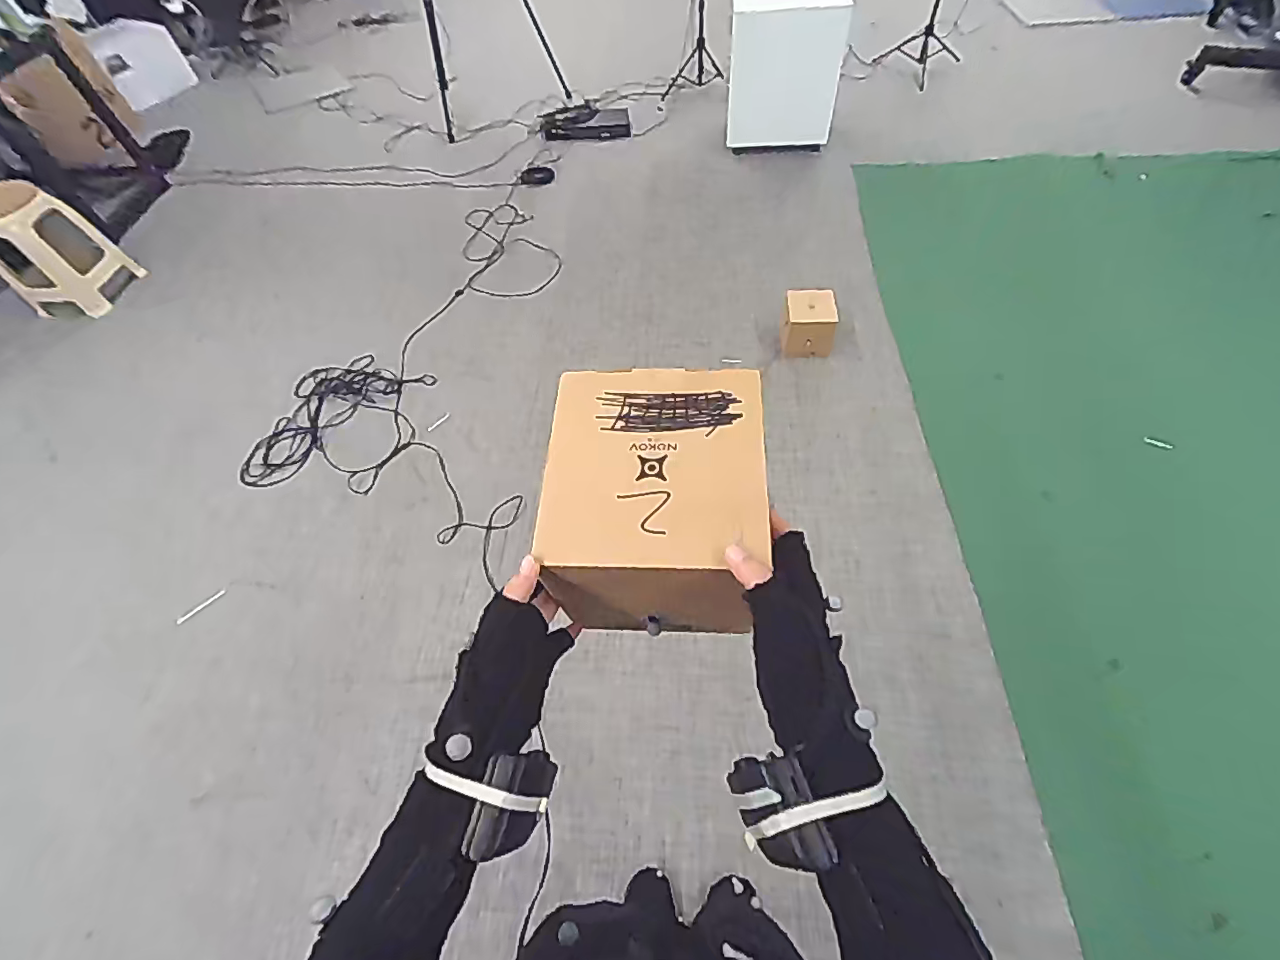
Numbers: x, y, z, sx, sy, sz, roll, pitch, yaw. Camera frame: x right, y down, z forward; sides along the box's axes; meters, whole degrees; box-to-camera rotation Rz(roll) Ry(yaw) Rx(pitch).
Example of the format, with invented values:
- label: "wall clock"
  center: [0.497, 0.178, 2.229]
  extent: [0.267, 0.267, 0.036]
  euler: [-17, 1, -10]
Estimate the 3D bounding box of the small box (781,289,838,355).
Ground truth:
- label: "small box"
  center: [0.615, -0.574, 1.976]
  extent: [0.168, 0.176, 0.179]
  euler: [1, 56, 5]
